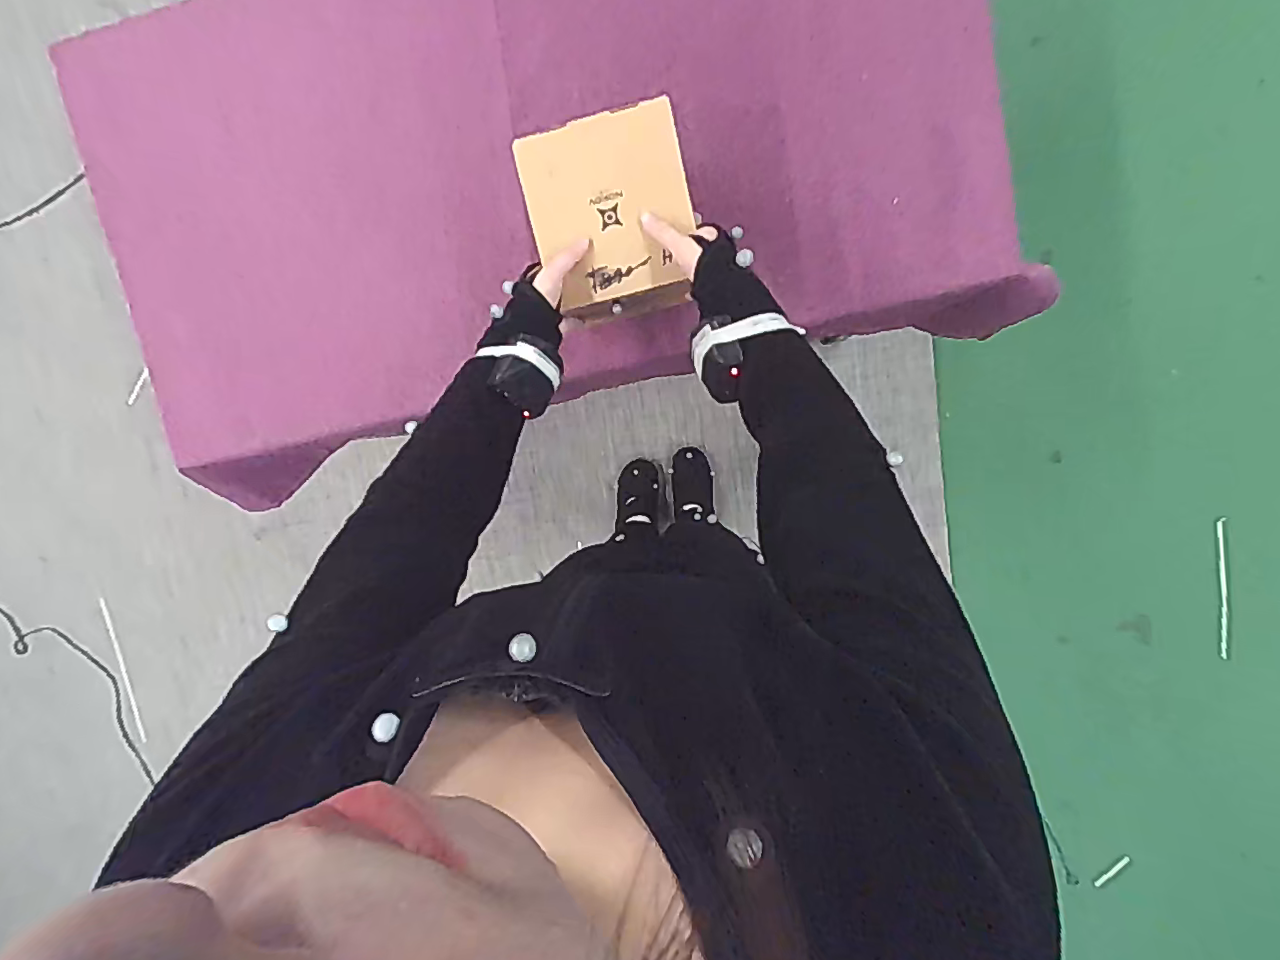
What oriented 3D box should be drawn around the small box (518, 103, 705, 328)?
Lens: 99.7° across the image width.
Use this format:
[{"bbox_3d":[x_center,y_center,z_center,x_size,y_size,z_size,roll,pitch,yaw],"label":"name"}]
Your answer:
[{"bbox_3d":[-0.023,-0.288,0.633,0.168,0.176,0.179,-11,100,8],"label":"small box"}]
